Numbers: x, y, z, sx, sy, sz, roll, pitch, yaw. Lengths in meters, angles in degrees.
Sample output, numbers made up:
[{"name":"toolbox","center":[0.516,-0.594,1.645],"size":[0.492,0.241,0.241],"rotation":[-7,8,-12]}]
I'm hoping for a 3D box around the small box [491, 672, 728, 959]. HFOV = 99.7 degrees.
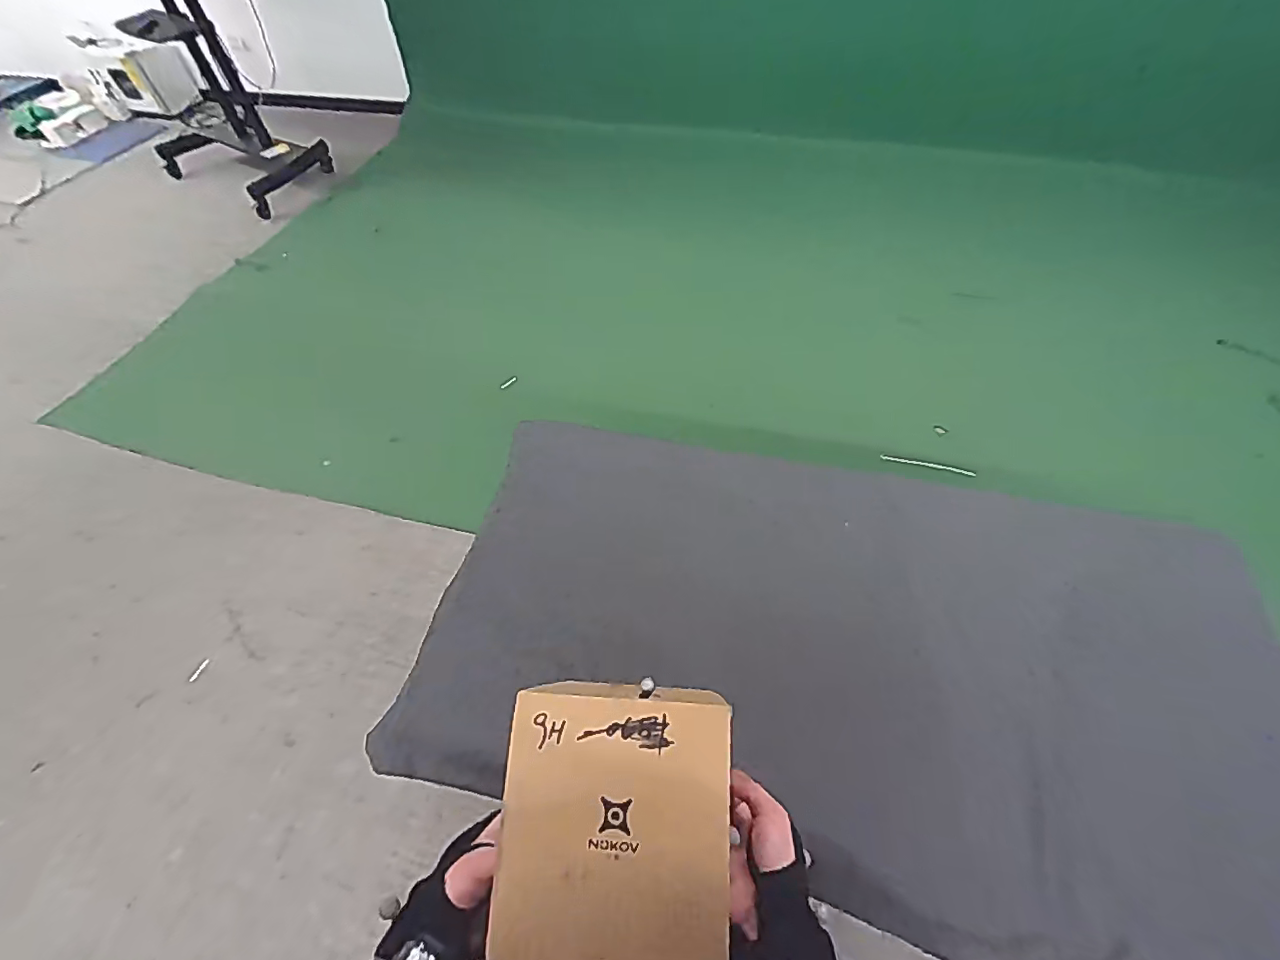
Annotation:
[{"name":"small box","center":[-0.014,0.273,0.475],"size":[0.168,0.176,0.179],"rotation":[3,74,4]}]
